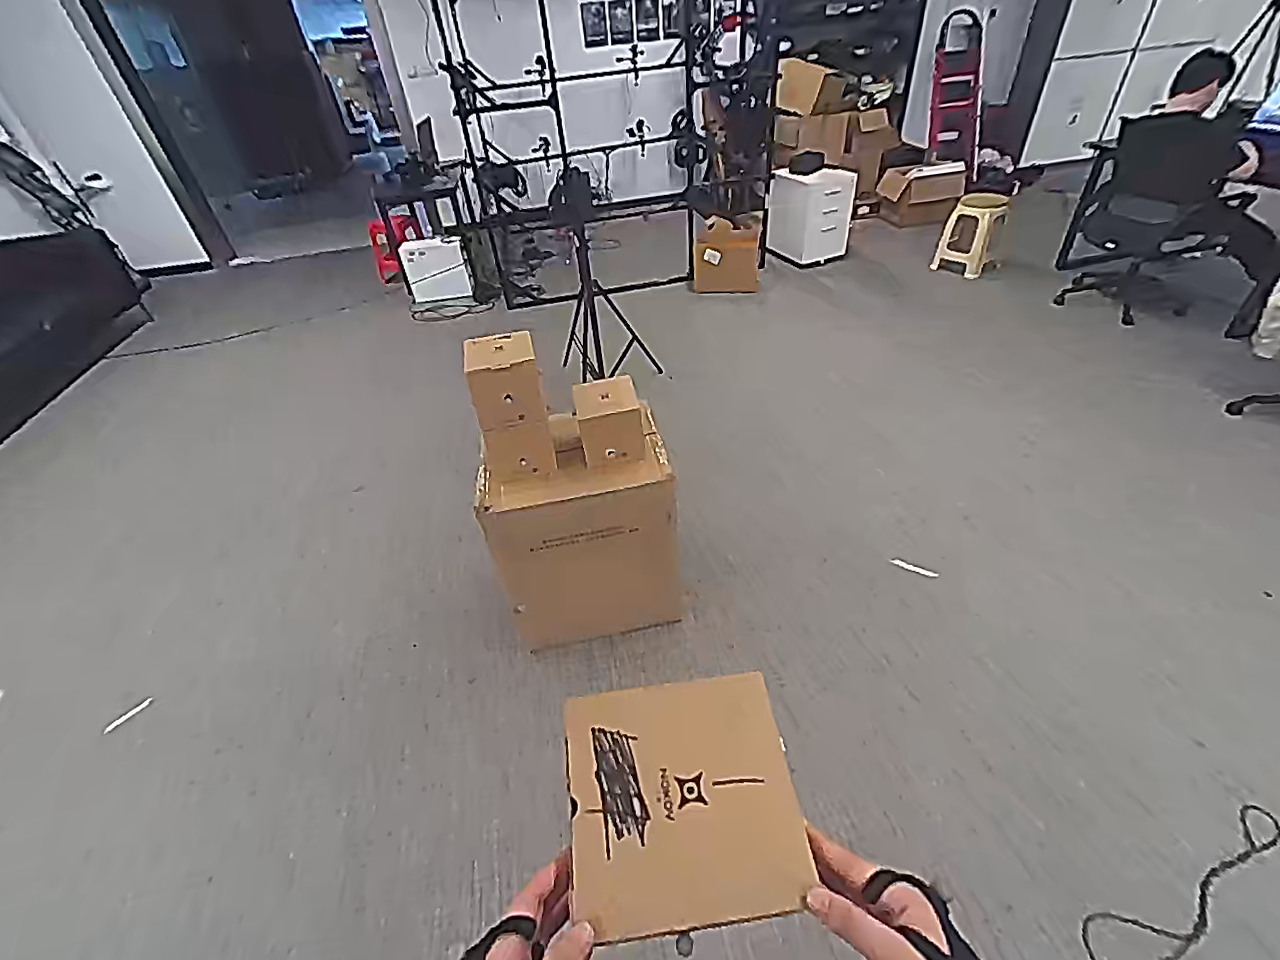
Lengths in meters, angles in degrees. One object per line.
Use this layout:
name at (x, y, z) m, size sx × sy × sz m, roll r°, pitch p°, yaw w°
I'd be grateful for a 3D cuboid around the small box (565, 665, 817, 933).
small box at (0.034, 0.288, 0.484) m, size 0.179 × 0.176 × 0.168 m, roll -7°, pitch 50°, yaw -3°

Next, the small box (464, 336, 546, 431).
small box at (-0.340, -0.238, 1.369) m, size 0.168 × 0.176 × 0.179 m, roll -12°, pitch 41°, yaw -9°

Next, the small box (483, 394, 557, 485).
small box at (-0.326, -0.111, 1.472) m, size 0.168 × 0.176 × 0.179 m, roll -11°, pitch 40°, yaw -7°

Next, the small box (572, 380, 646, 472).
small box at (-0.086, -0.147, 1.486) m, size 0.168 × 0.176 × 0.179 m, roll -13°, pitch 42°, yaw -4°
